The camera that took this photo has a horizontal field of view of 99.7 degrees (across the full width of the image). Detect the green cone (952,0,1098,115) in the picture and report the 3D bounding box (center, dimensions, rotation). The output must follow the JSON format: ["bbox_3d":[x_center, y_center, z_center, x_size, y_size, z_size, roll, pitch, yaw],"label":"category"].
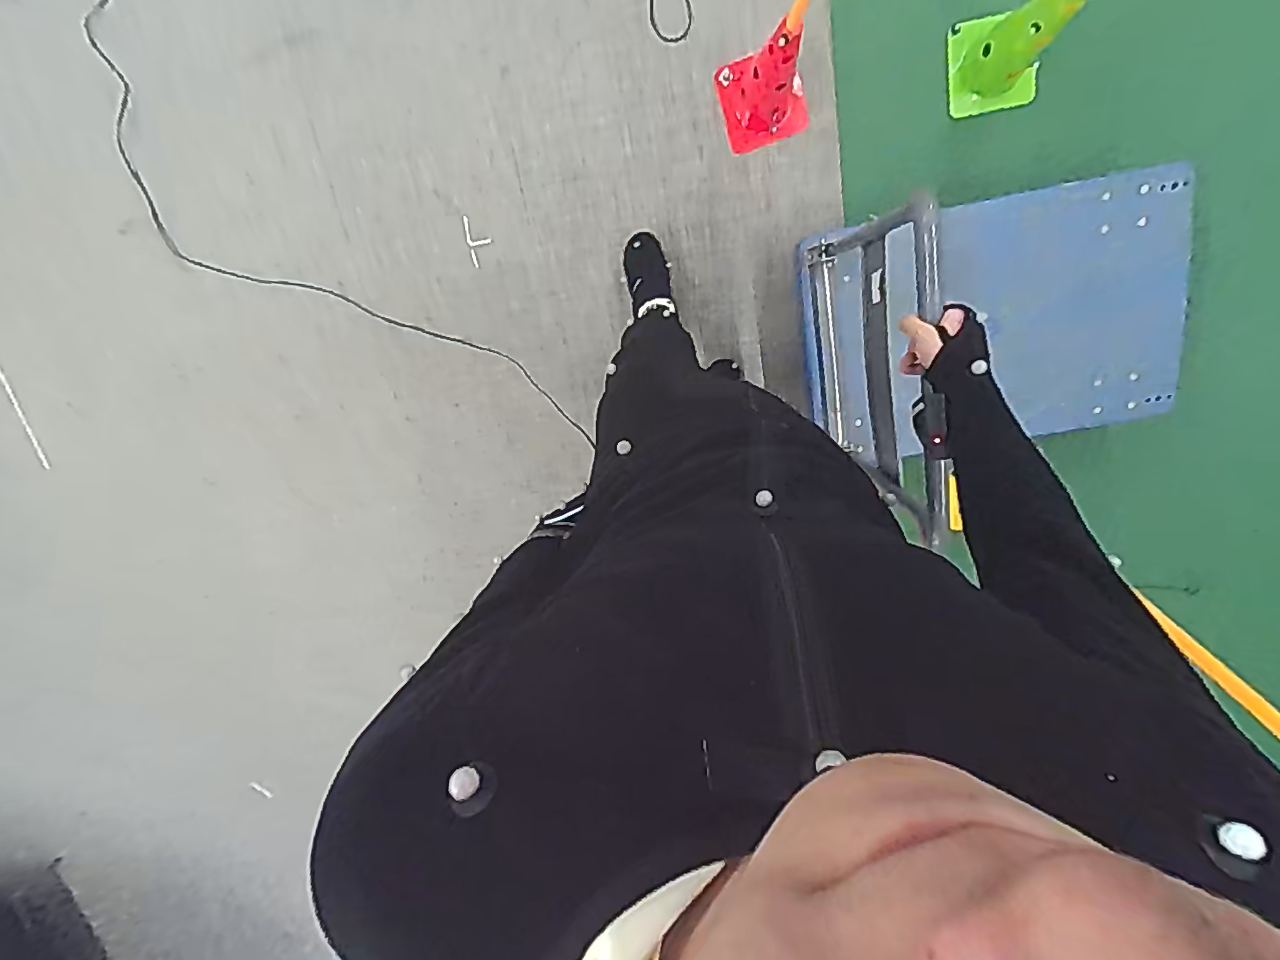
[{"bbox_3d":[0.837,-0.946,1.114,0.202,0.368,0.200,-9,104,5],"label":"green cone"}]
